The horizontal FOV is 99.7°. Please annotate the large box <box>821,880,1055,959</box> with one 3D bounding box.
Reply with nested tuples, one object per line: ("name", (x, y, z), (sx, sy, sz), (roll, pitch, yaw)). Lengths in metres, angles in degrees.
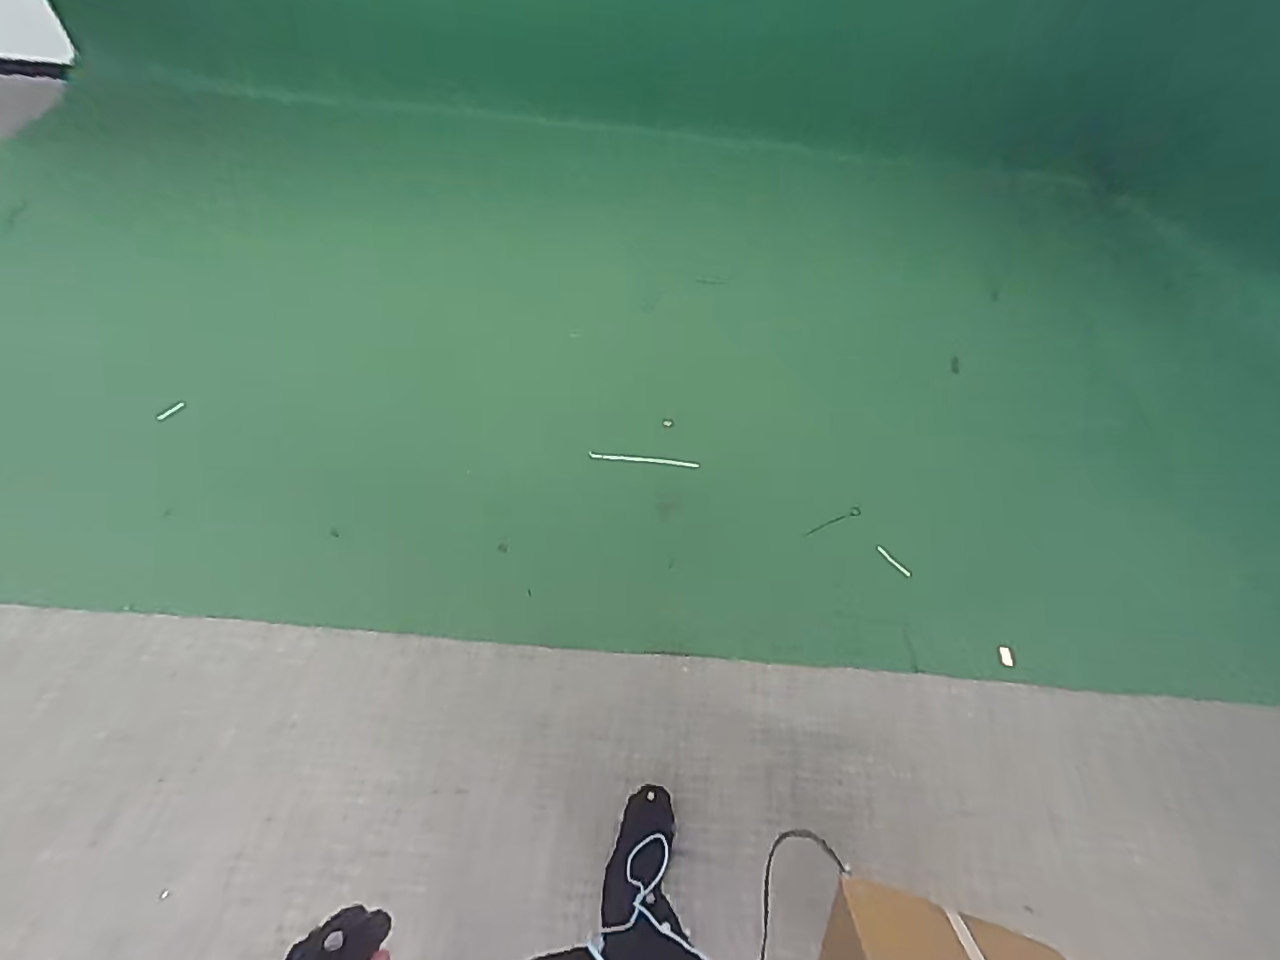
("large box", (0.383, 0.782, 0.607), (0.320, 0.408, 0.320), (15, 89, 10))
